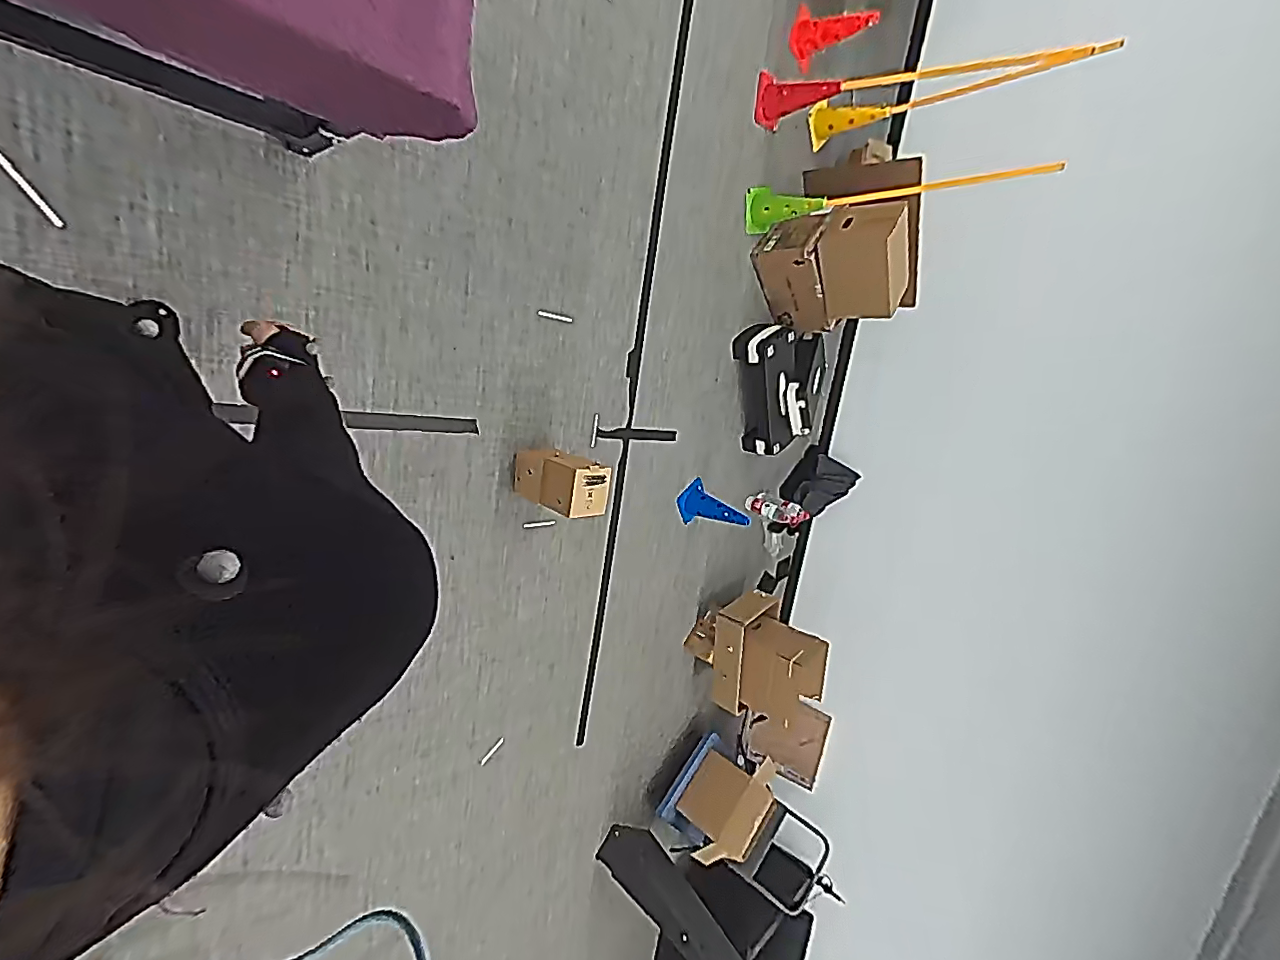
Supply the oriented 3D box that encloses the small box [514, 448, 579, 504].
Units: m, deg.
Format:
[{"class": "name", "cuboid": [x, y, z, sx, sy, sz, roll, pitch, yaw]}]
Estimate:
[{"class": "small box", "cuboid": [-0.350, -0.020, 2.008, 0.179, 0.176, 0.168, -9, 111, -46]}]
